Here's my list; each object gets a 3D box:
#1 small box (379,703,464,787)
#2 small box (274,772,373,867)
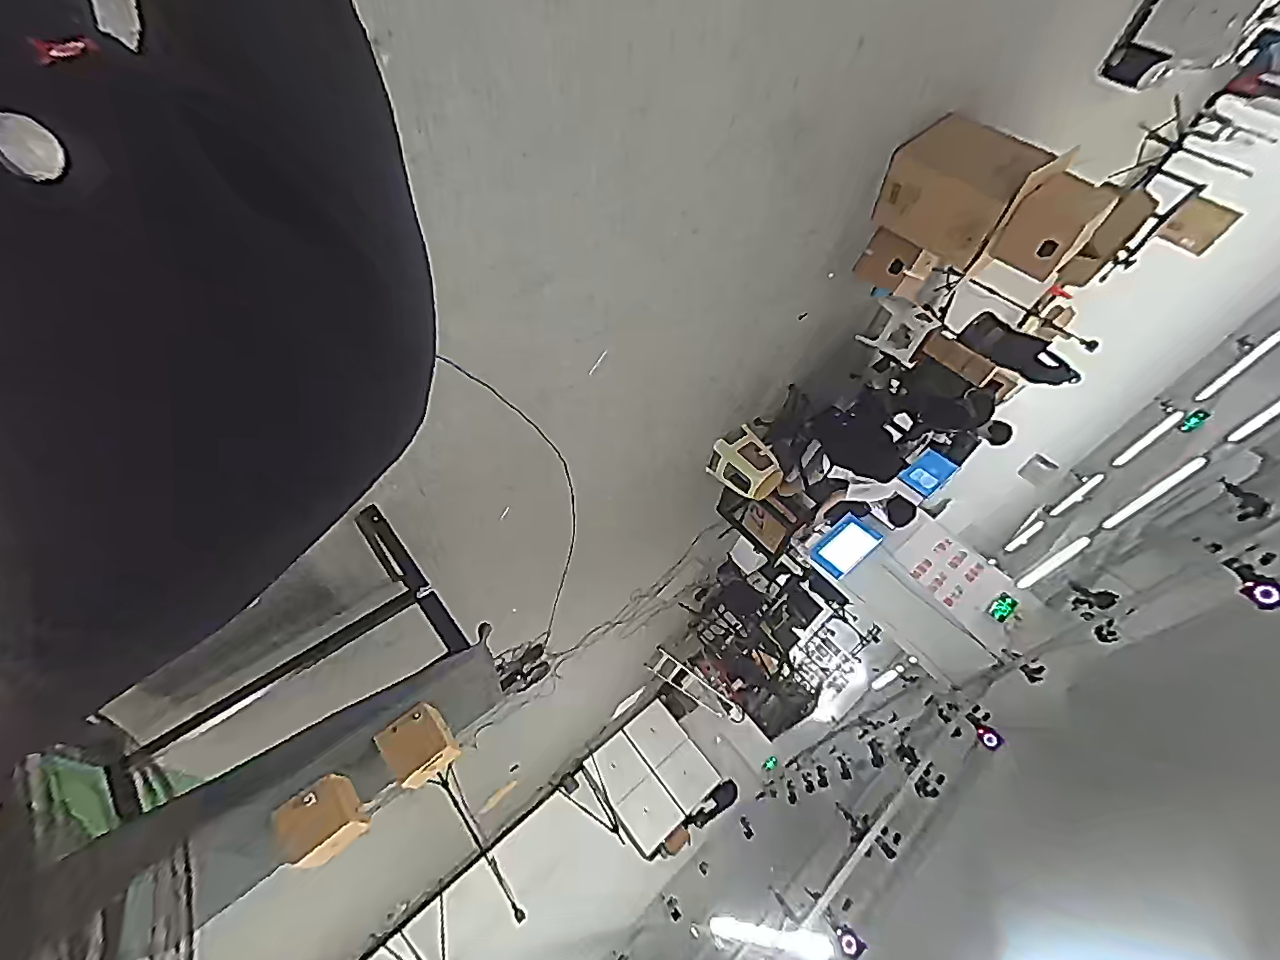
[{"bbox_3d":[-0.686,0.828,1.696,0.168,0.176,0.179,-34,156,-22],"label":"small box"},{"bbox_3d":[-0.925,0.992,1.585,0.168,0.176,0.179,-35,153,-25],"label":"small box"}]
